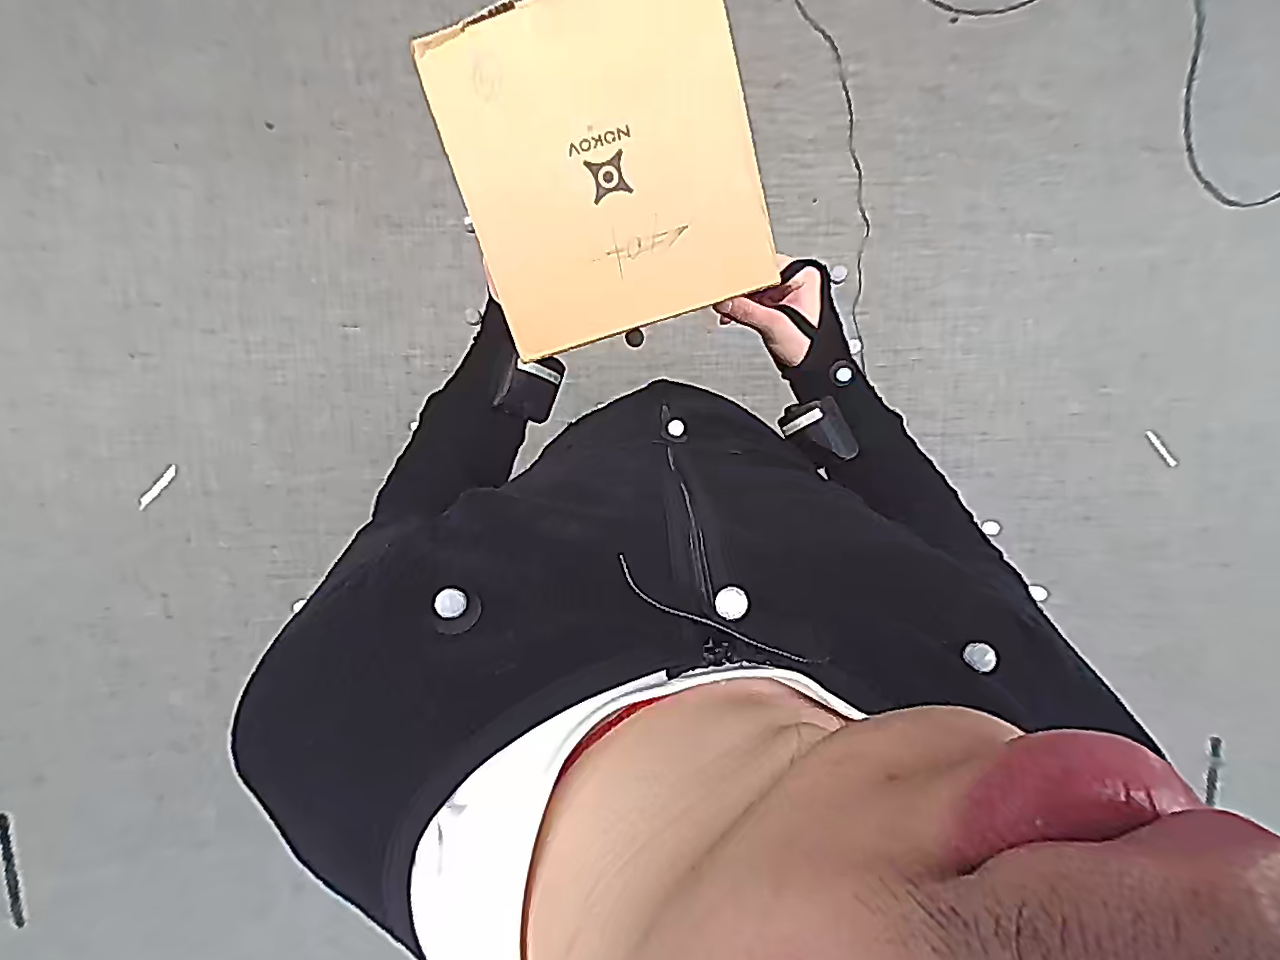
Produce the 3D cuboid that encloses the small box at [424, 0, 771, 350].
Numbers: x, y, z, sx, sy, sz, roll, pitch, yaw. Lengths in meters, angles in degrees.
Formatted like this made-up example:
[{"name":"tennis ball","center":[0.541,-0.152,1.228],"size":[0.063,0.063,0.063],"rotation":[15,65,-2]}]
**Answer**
[{"name":"small box","center":[-0.021,-0.204,0.389],"size":[0.168,0.176,0.179],"rotation":[-15,107,5]}]
